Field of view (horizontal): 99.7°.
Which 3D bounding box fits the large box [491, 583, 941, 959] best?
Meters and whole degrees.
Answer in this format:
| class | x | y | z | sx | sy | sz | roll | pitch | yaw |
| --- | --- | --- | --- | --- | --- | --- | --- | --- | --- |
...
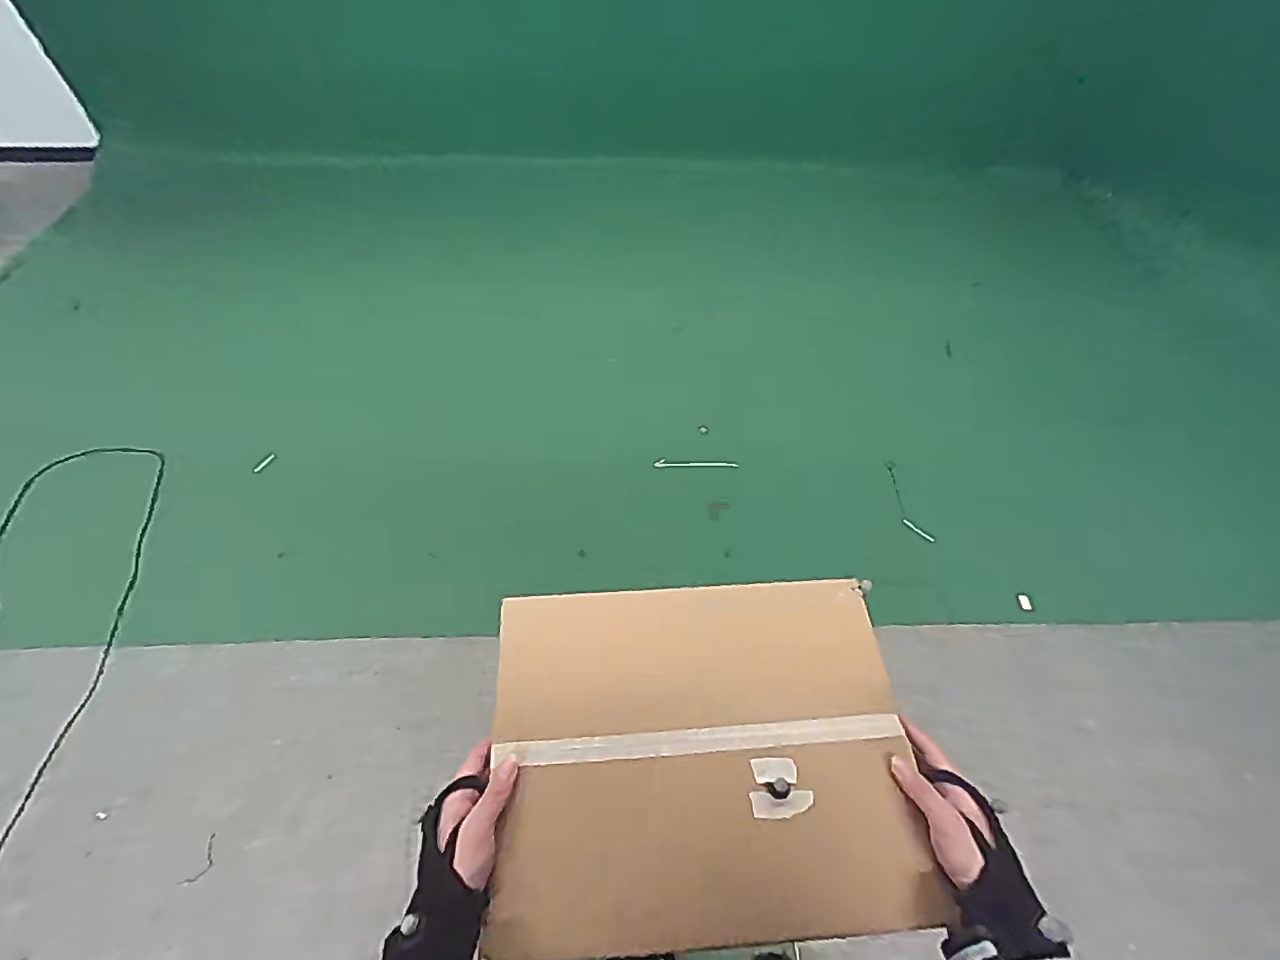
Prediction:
| class | x | y | z | sx | sy | sz | roll | pitch | yaw |
| --- | --- | --- | --- | --- | --- | --- | --- | --- | --- |
| large box | 0.053 | 0.341 | 0.666 | 0.408 | 0.320 | 0.320 | -3 | 59 | -4 |
